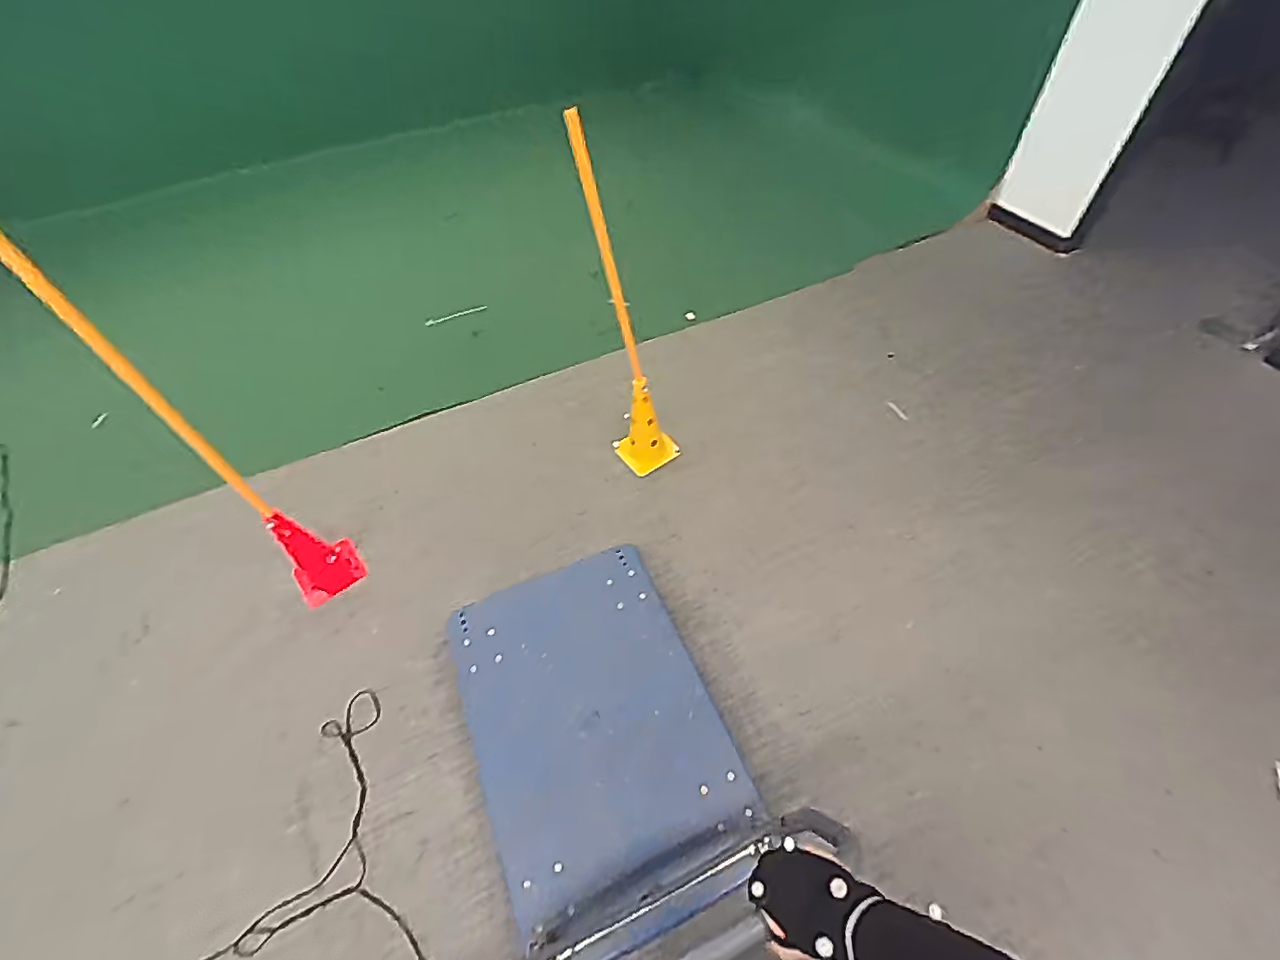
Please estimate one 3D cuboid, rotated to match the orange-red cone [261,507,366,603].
[{"bbox_3d":[-1.061,0.201,1.695,0.199,0.360,0.198,-35,57,-19],"label":"orange-red cone"}]
